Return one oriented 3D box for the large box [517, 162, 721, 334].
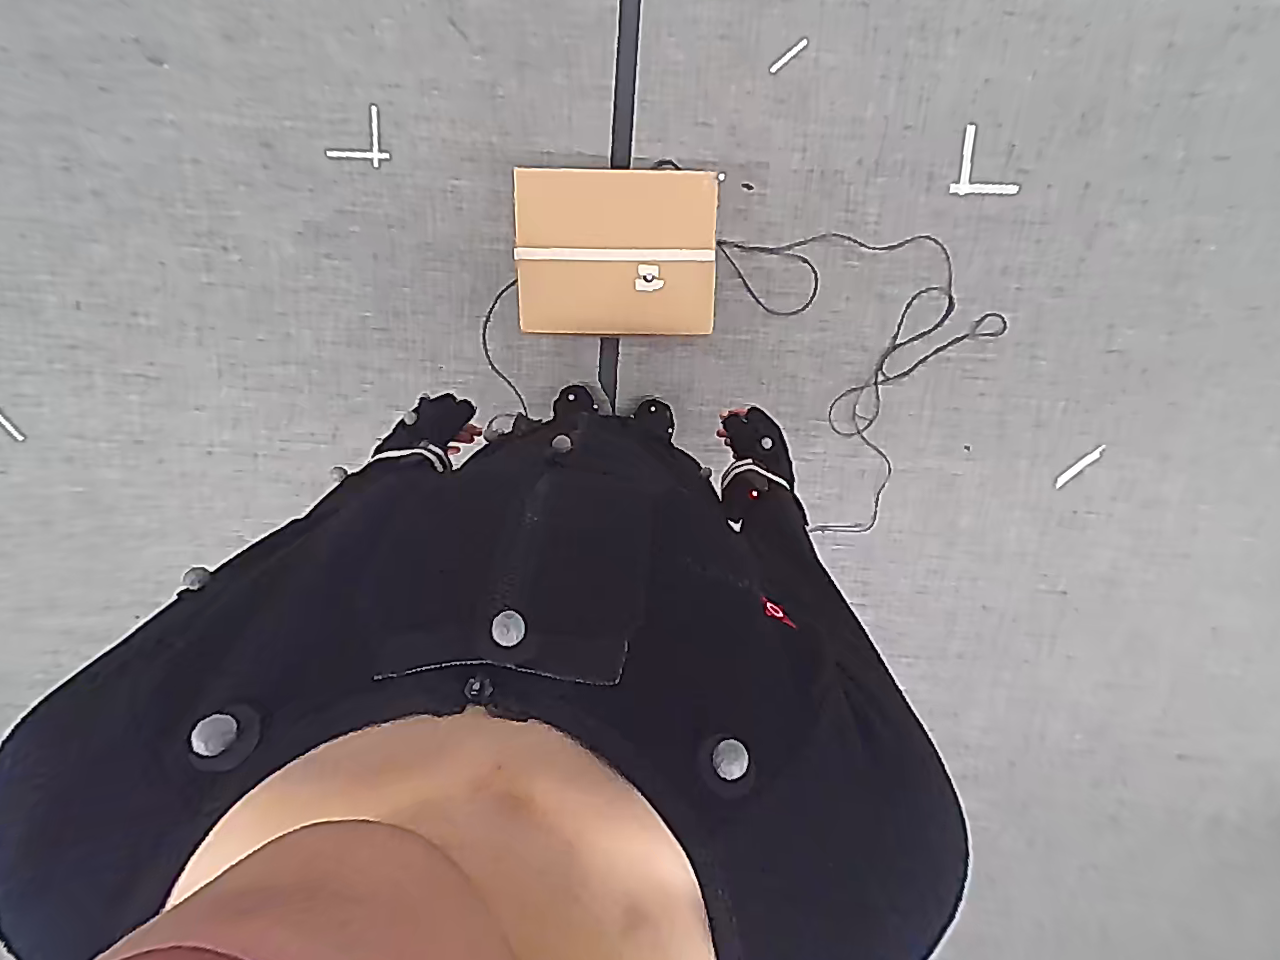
[{"bbox_3d":[-0.045,-0.498,1.228,0.408,0.320,0.320,0,104,-2],"label":"large box"}]
